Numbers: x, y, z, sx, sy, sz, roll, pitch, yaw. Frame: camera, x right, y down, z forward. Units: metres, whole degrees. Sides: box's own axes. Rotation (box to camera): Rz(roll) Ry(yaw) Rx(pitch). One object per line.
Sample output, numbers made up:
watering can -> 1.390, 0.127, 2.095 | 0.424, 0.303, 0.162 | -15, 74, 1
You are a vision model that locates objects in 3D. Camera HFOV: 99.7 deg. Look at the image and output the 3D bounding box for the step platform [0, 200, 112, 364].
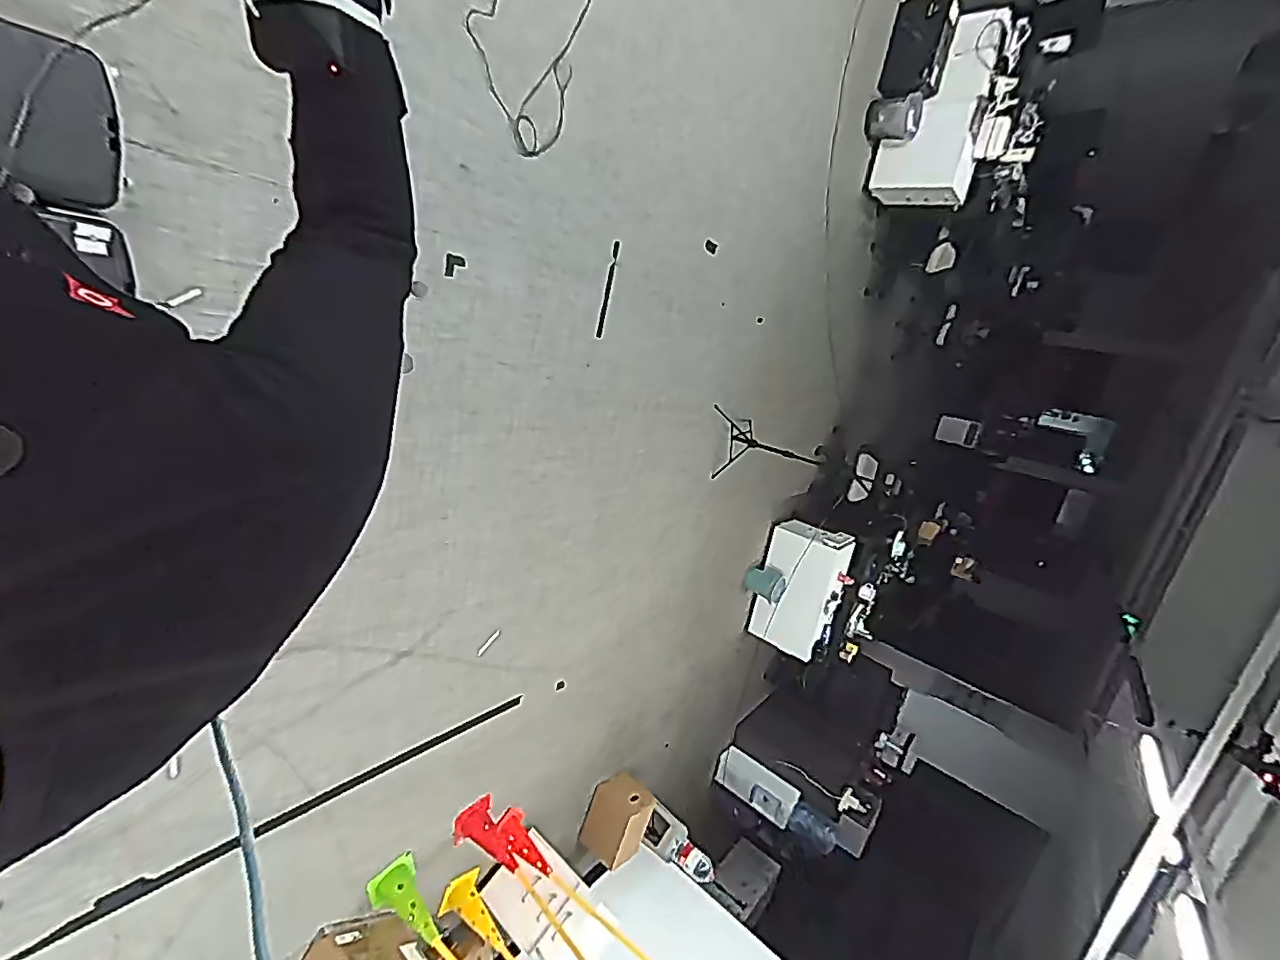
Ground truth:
step platform -> -1.312, -0.348, 0.855 | 0.684, 0.204, 0.286 | -9, 115, -49
